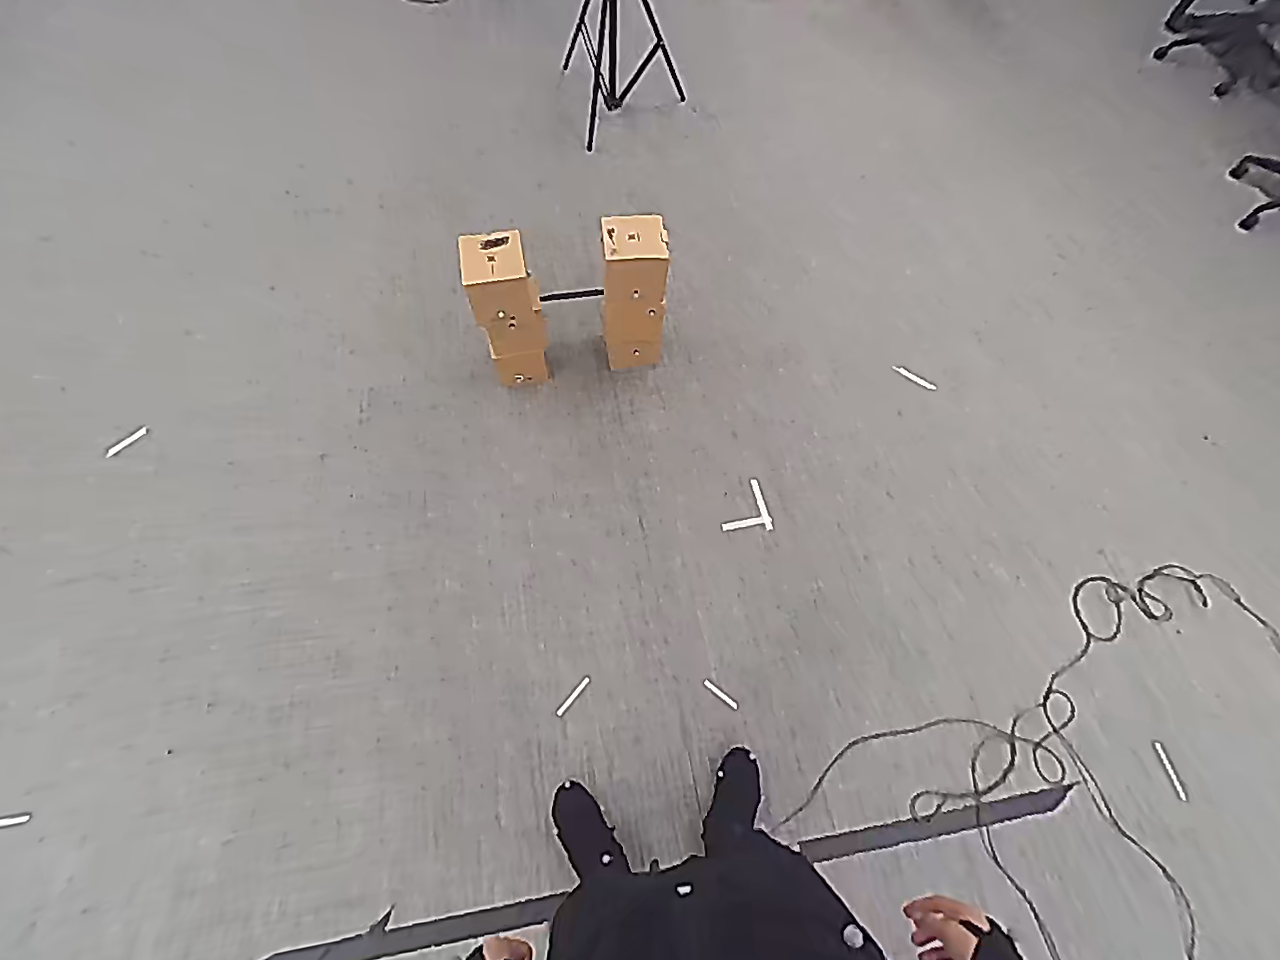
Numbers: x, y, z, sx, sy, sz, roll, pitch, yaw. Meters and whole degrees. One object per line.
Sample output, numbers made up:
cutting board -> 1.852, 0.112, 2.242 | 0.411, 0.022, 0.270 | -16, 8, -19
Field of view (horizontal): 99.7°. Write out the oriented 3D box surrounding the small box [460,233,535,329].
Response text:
small box -> -0.391, -0.549, 1.499 | 0.168, 0.176, 0.179 | -10, 67, -6

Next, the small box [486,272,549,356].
small box -> -0.388, -0.504, 1.659 | 0.179, 0.176, 0.168 | -13, 67, -8

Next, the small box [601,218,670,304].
small box -> -0.018, -0.624, 1.554 | 0.179, 0.176, 0.168 | -4, 65, -6

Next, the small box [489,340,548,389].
small box -> -0.407, -0.431, 1.805 | 0.168, 0.176, 0.179 | -12, 67, -8

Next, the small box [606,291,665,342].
small box -> -0.020, -0.551, 1.701 | 0.179, 0.176, 0.168 | -4, 66, -5
